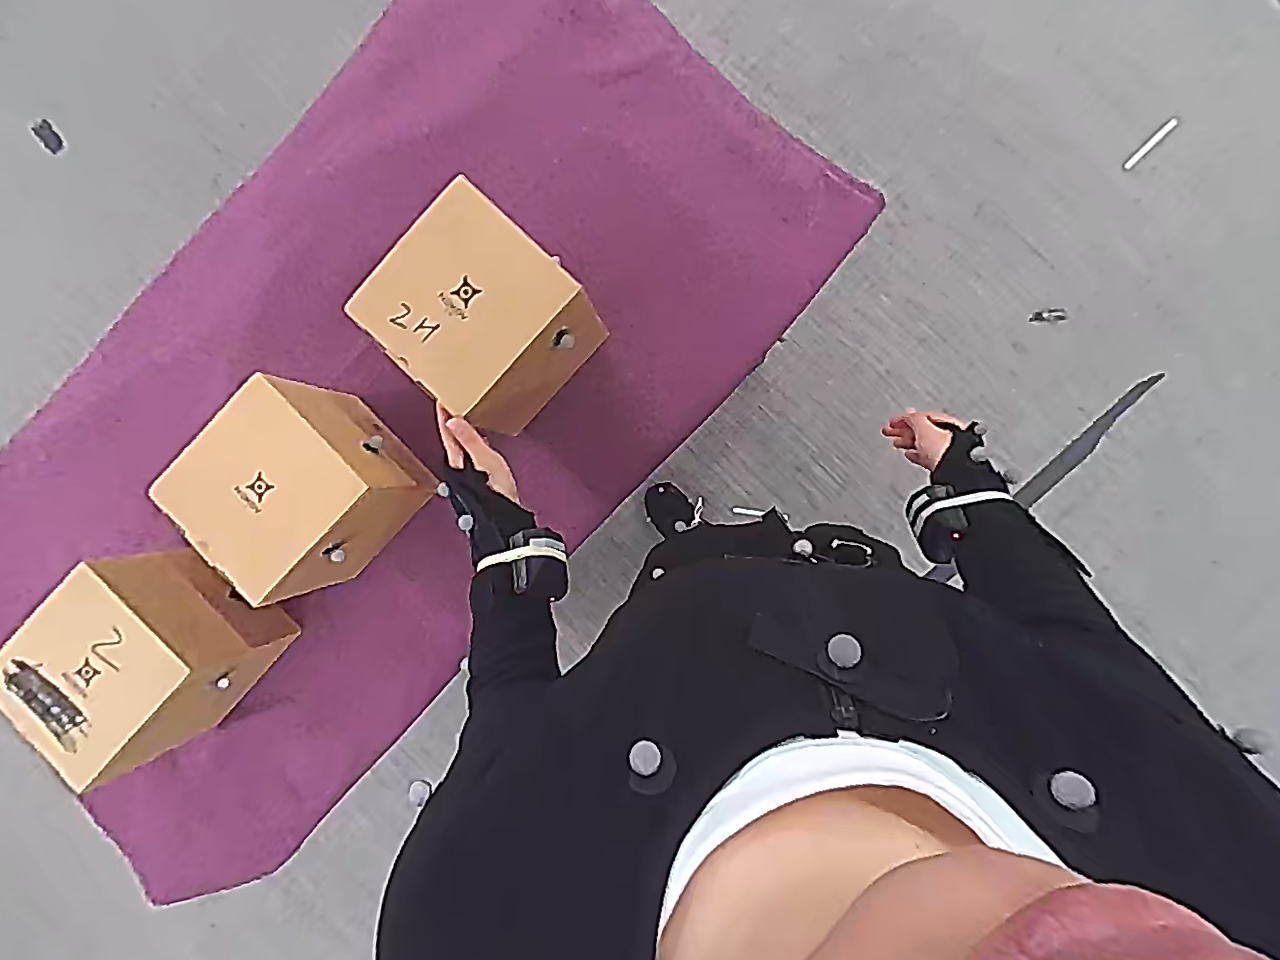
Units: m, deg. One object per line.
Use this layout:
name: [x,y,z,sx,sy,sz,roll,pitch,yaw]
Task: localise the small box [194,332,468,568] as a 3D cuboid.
small box: [-0.317,-0.030,0.602,0.179,0.176,0.168,-38,88,3]
